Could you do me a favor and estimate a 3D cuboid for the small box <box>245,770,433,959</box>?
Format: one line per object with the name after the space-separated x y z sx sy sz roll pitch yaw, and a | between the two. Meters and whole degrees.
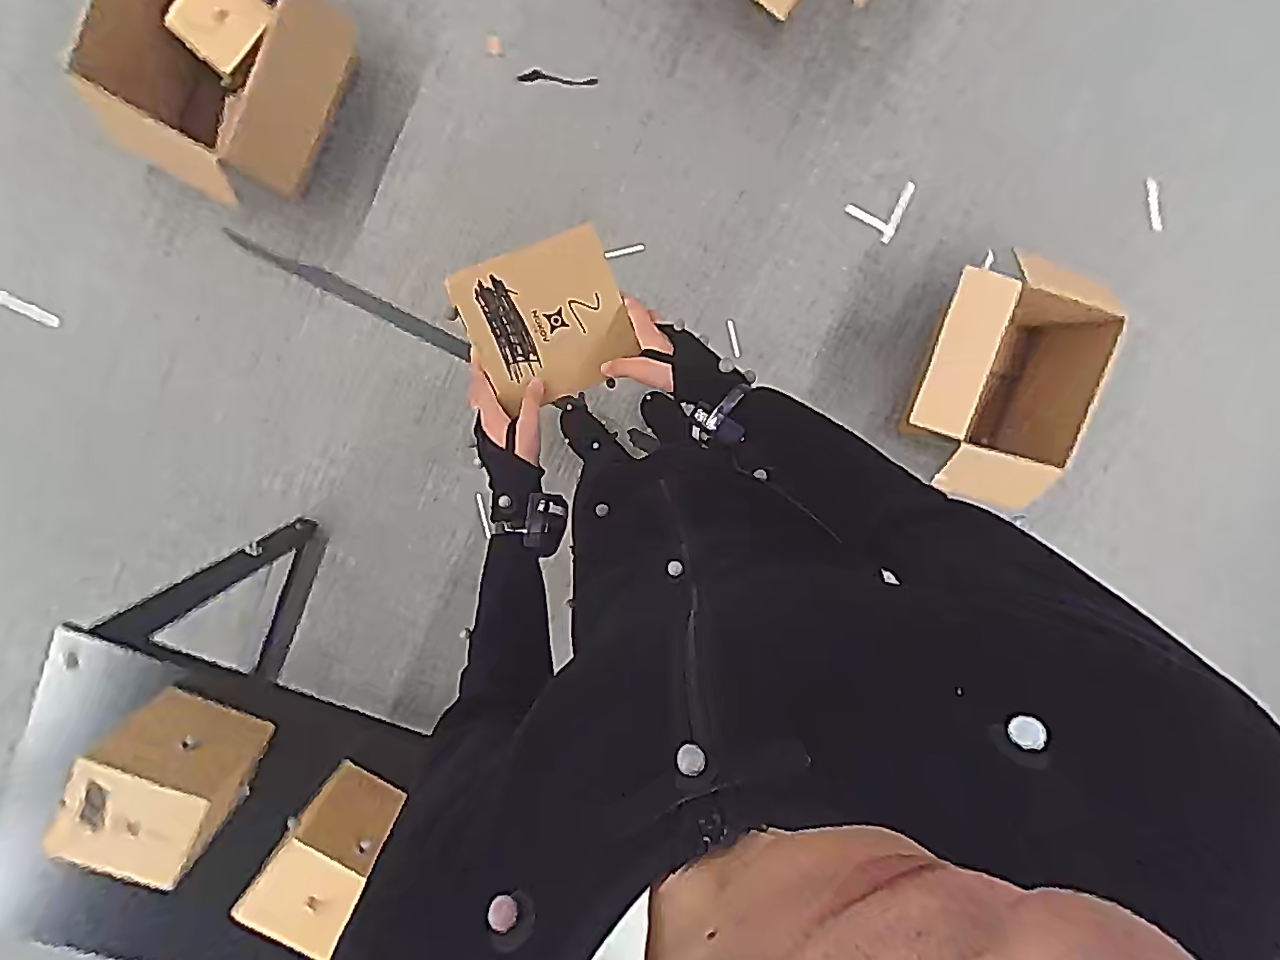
-0.474 0.615 0.882 0.179 0.176 0.168 38 97 -11 | small box

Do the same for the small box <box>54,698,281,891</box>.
-0.707 0.468 0.830 0.179 0.176 0.168 26 99 -11 | small box
